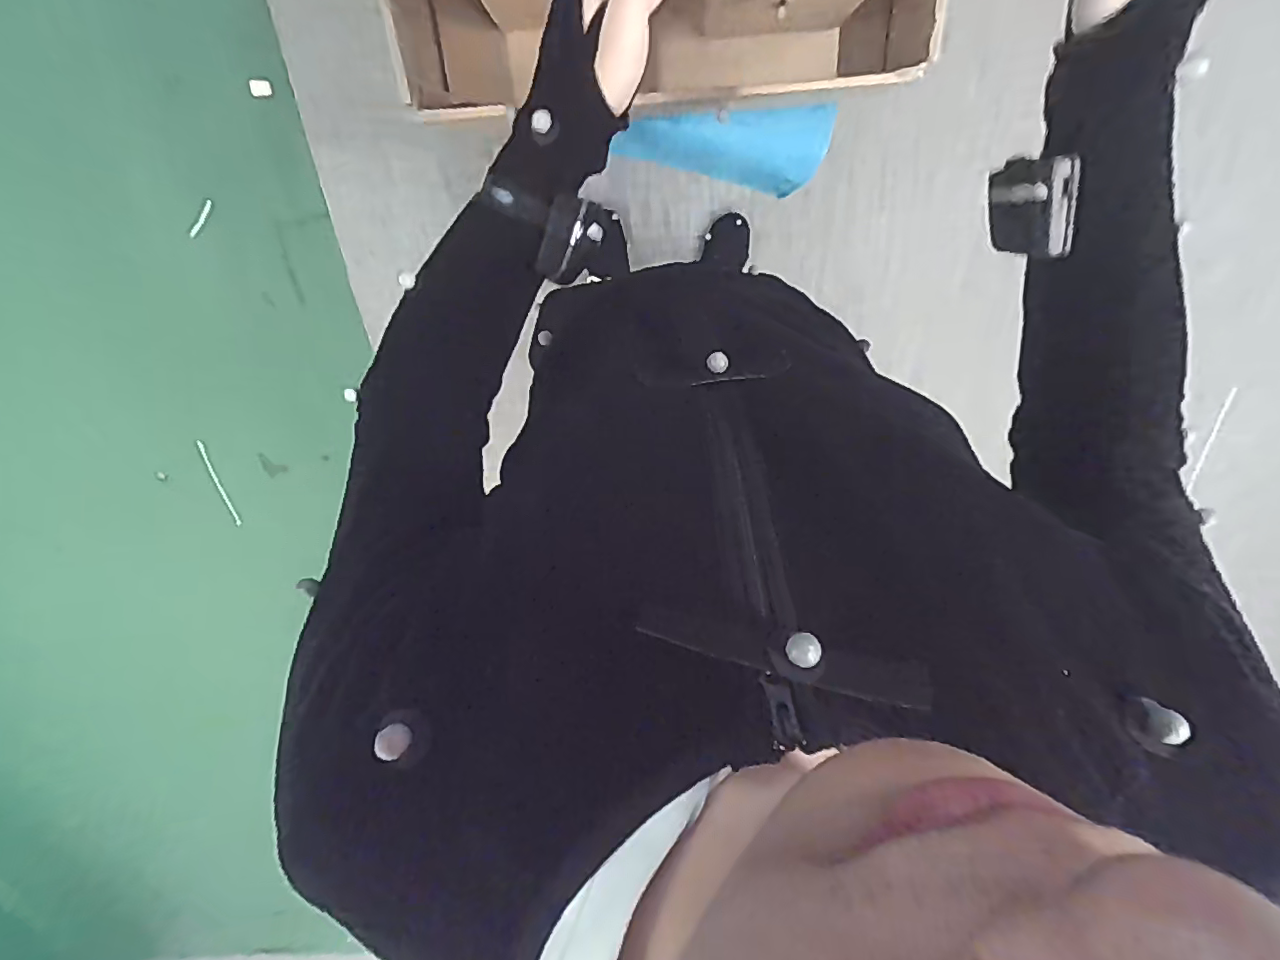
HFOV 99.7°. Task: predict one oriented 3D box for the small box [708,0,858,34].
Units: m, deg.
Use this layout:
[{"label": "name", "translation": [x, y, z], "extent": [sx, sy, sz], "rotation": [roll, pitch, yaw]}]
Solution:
[{"label": "small box", "translation": [0.165, -0.612, 0.587], "extent": [0.179, 0.176, 0.168], "rotation": [-1, 116, 3]}]
